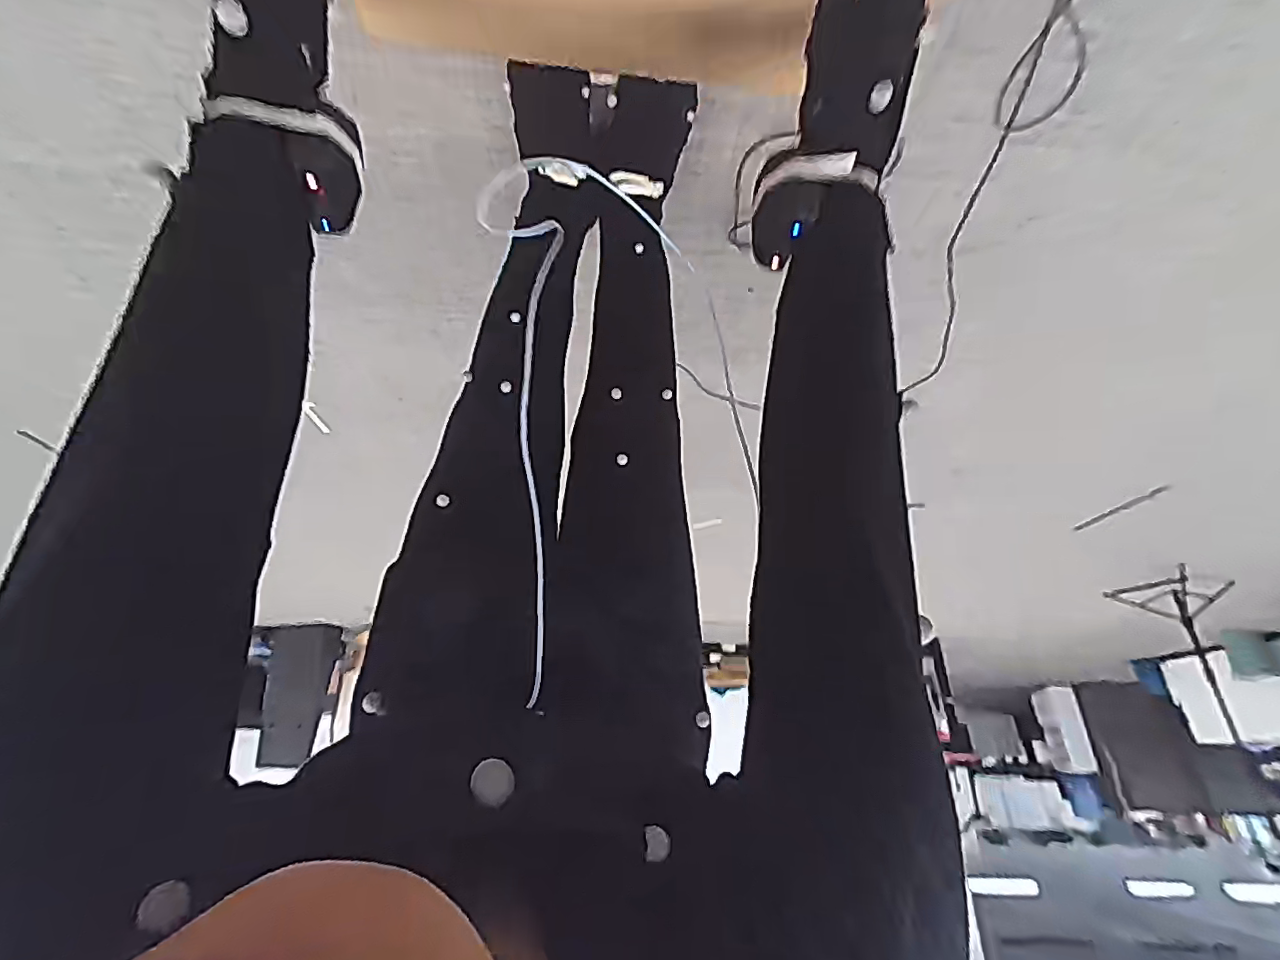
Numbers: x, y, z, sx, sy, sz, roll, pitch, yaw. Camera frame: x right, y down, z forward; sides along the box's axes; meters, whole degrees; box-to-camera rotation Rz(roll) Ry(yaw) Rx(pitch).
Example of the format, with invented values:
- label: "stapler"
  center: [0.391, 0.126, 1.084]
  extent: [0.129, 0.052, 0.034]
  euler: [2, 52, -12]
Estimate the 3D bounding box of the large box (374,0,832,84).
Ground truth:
- label: "large box"
  center: [-0.022, -0.593, 0.444]
  extent: [0.408, 0.320, 0.320]
  euler: [4, 153, -4]
